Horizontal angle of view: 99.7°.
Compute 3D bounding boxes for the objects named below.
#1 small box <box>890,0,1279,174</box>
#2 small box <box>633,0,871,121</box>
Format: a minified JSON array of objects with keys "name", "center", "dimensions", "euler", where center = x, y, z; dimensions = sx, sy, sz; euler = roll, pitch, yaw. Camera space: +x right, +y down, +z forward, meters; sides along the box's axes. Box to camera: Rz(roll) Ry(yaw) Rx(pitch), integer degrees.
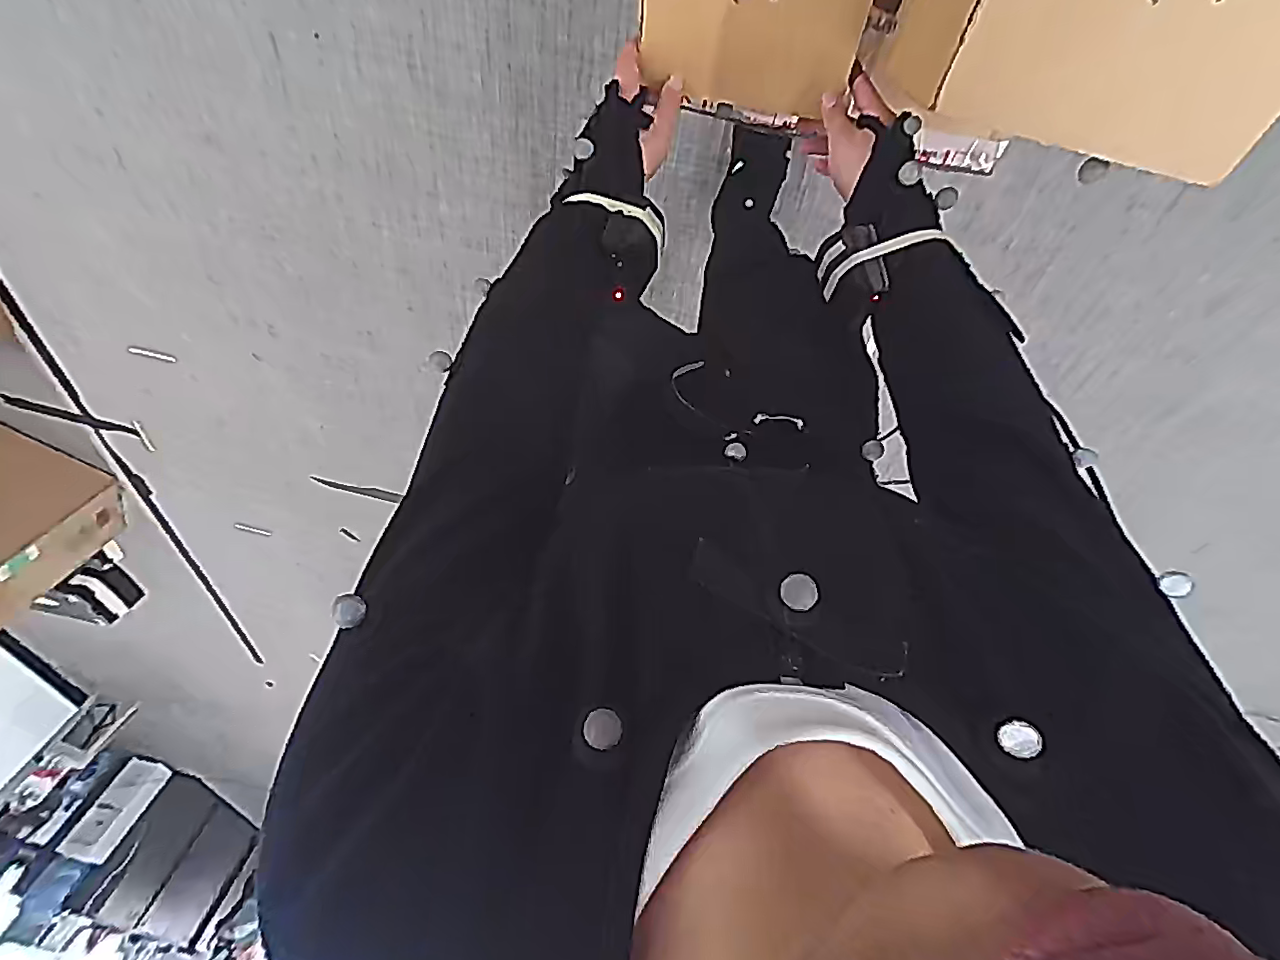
[{"name":"small box","center":[0.270,-0.299,0.300],"dimensions":[0.179,0.176,0.168],"euler":[13,135,0]},{"name":"small box","center":[0.101,-0.428,0.455],"dimensions":[0.179,0.176,0.168],"euler":[12,136,5]}]
